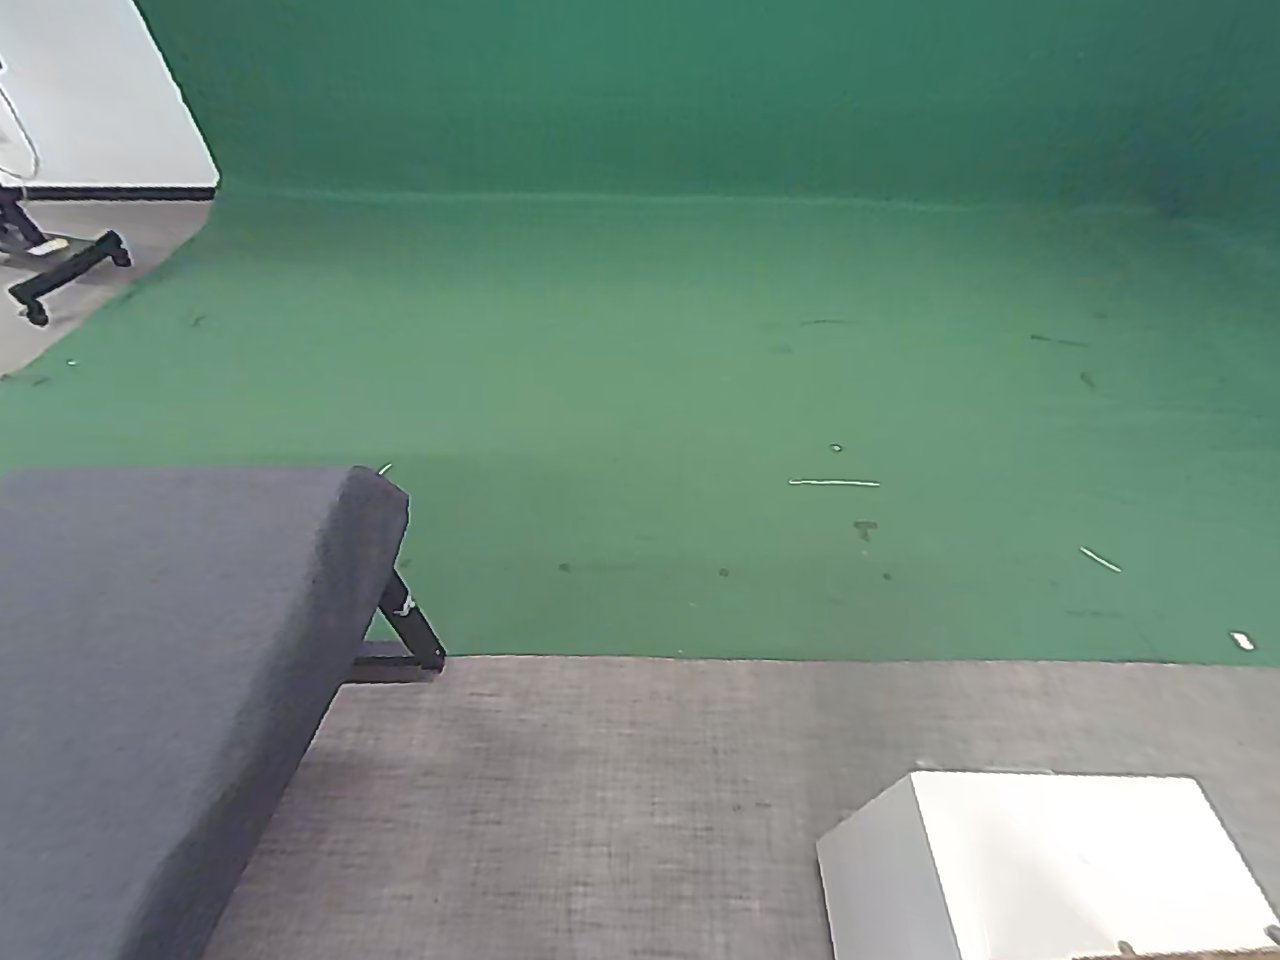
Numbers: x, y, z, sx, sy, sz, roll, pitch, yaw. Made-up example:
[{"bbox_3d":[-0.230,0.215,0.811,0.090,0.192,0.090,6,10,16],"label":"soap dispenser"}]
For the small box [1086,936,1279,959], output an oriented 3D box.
[{"bbox_3d":[0.486,0.445,0.393,0.179,0.176,0.168,-3,48,-5],"label":"small box"}]
